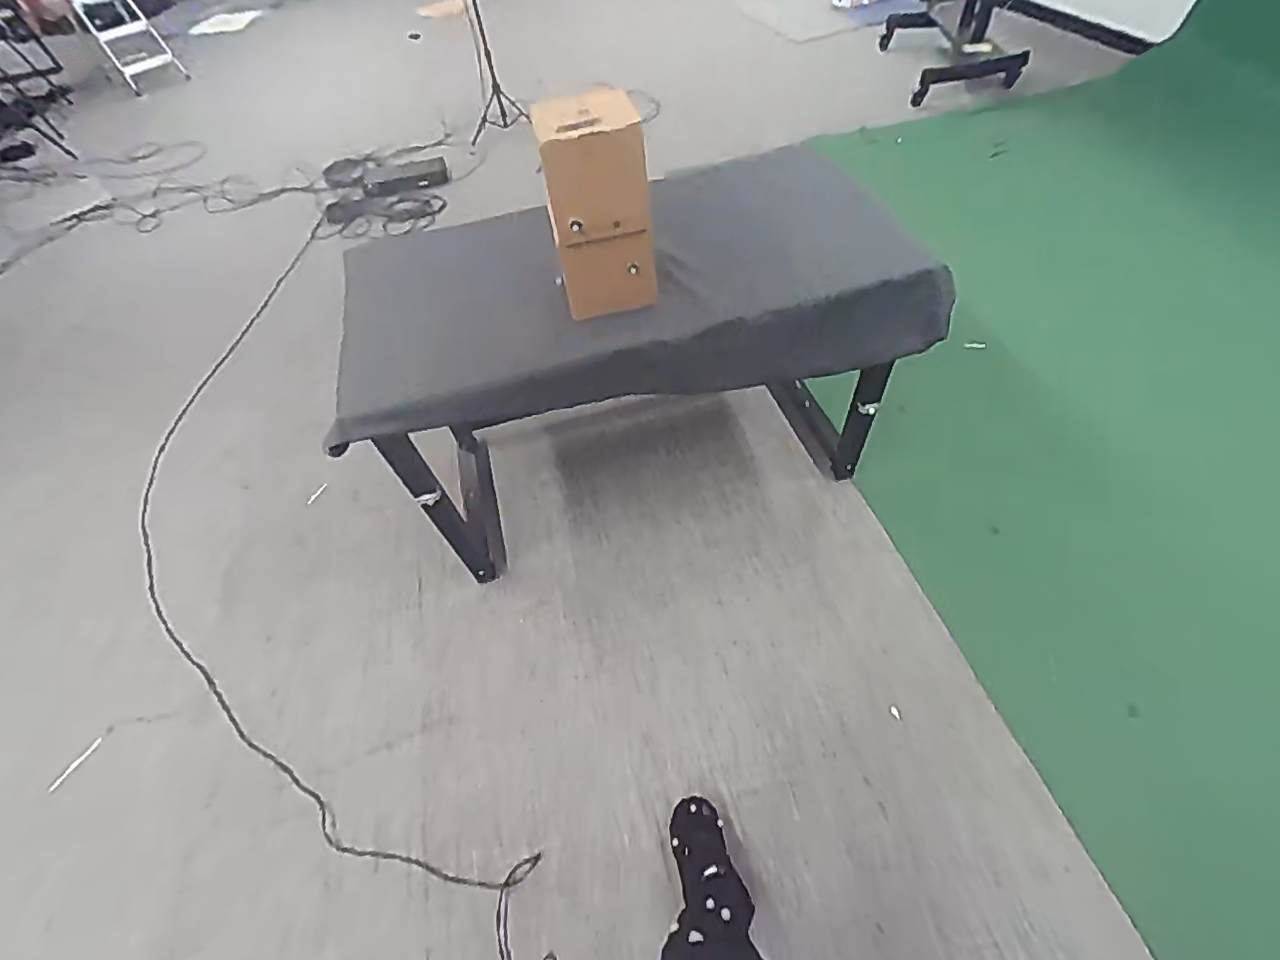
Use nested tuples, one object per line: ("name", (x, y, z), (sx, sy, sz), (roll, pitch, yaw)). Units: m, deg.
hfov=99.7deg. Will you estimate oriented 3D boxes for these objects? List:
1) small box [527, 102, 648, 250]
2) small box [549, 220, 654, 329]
("small box", (-0.089, -0.527, 0.955), (0.168, 0.176, 0.179), (-16, 53, -5))
("small box", (-0.073, -0.431, 1.087), (0.179, 0.176, 0.168), (-14, 51, -3))
